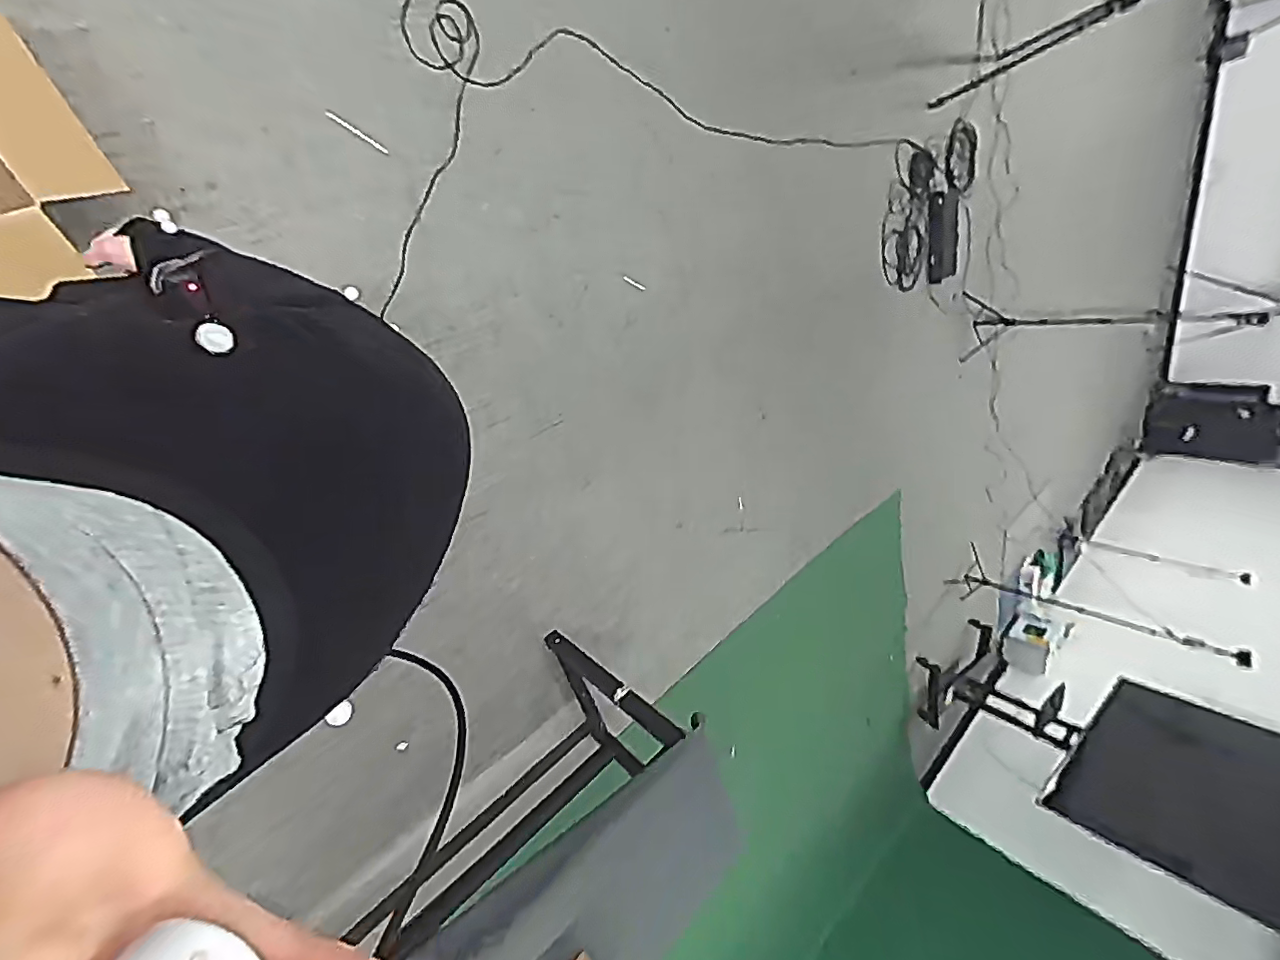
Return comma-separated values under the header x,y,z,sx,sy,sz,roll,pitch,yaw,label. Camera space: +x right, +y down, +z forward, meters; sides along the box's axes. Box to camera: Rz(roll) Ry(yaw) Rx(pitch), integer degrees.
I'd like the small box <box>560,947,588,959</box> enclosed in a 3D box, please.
x,y,z,sx,sy,sz,roll,pitch,yaw,label
-0.140,1.234,1.233,0.168,0.176,0.179,-35,121,-30,small box
